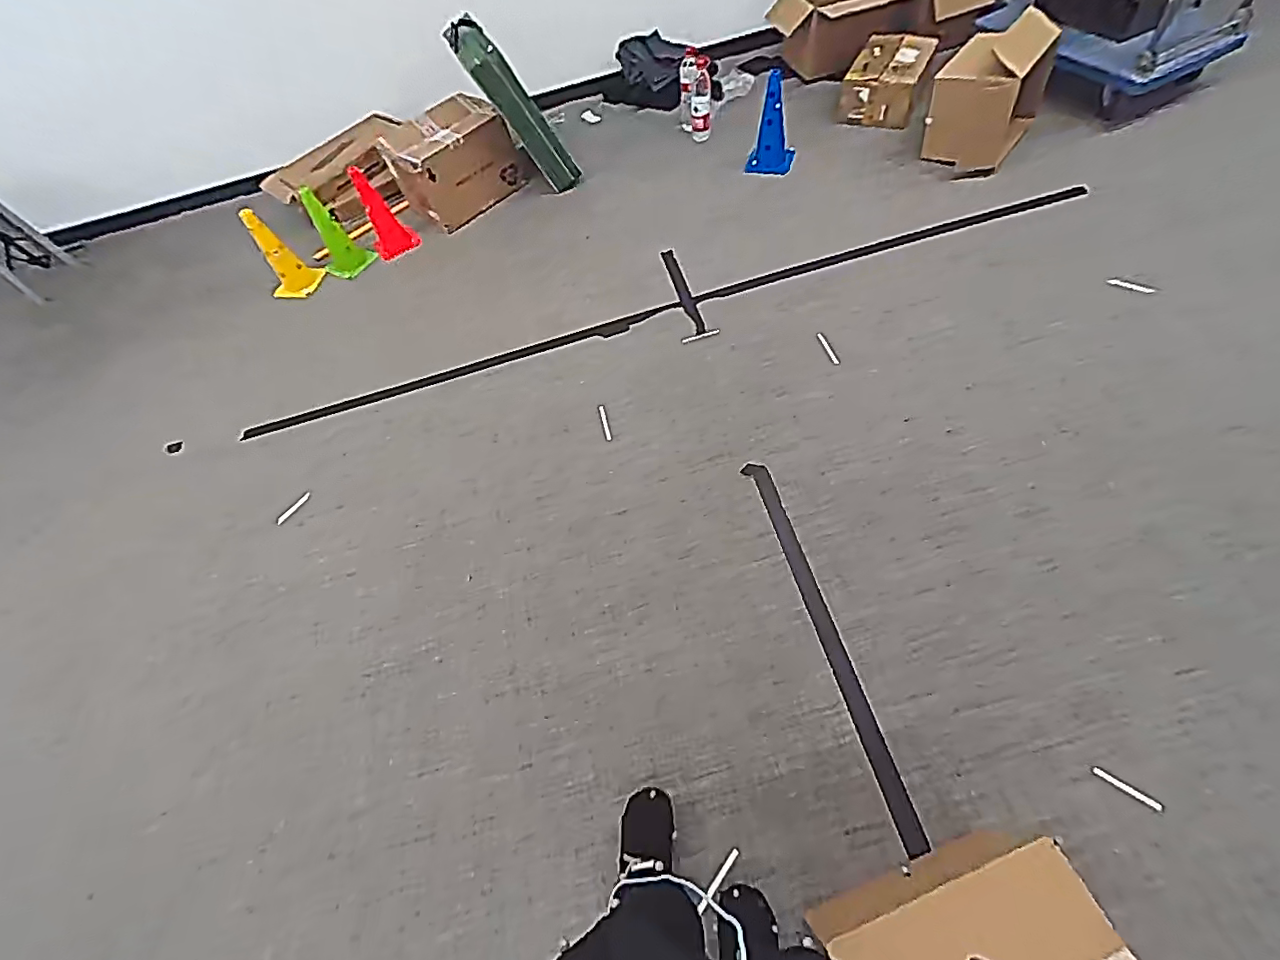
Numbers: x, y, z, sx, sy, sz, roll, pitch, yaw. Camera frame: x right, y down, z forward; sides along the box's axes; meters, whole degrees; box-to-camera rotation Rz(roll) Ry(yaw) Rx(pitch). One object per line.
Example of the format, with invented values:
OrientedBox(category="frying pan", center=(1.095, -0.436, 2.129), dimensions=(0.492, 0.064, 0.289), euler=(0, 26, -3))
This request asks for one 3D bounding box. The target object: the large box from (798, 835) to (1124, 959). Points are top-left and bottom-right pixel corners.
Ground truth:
OrientedBox(category="large box", center=(0.527, 0.835, 0.884), dimensions=(0.408, 0.320, 0.320), euler=(-21, 58, -5))
